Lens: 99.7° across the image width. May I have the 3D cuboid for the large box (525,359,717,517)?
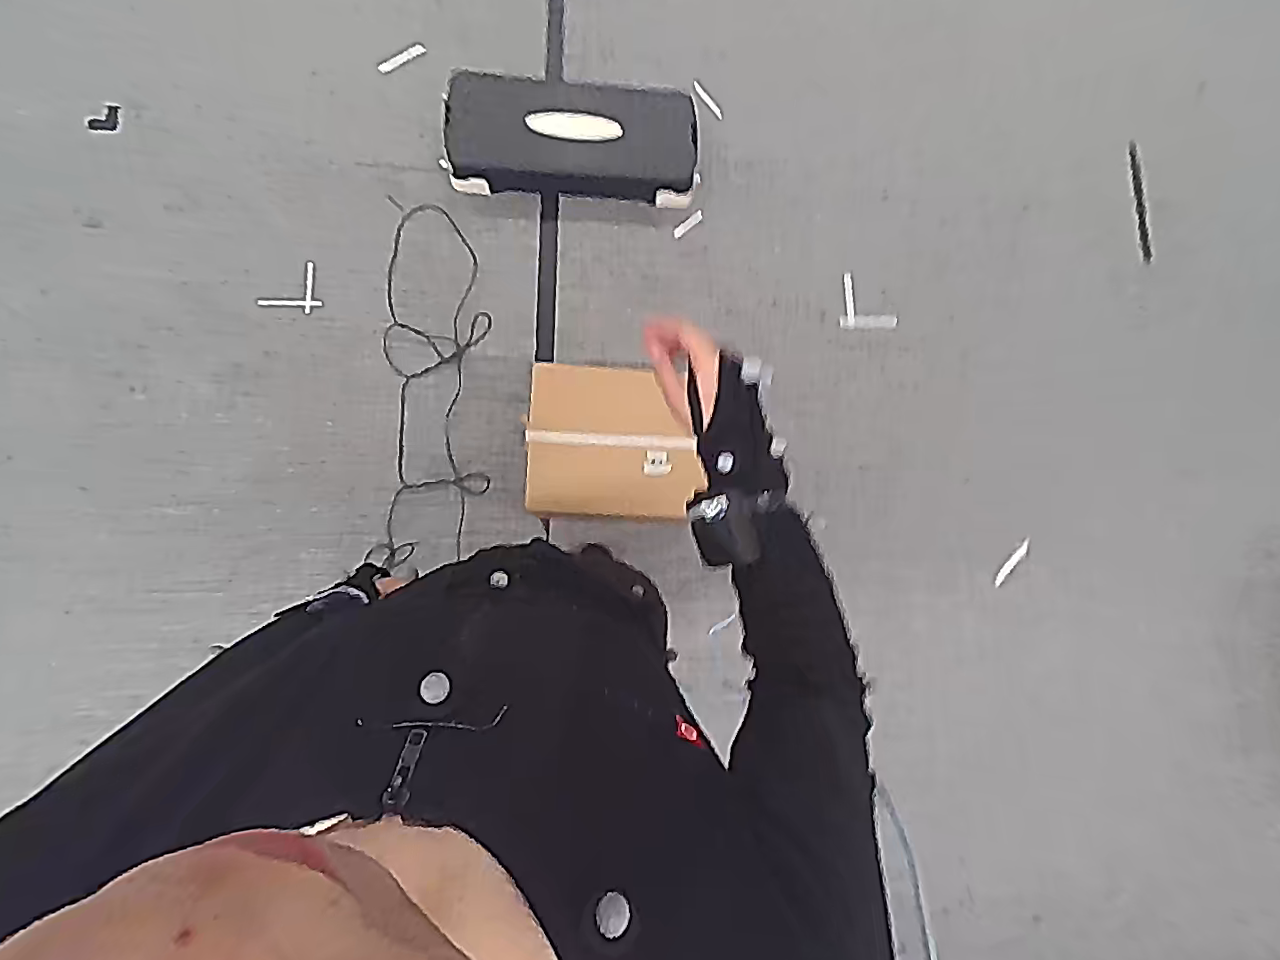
[{"bbox_3d":[-0.055,-0.076,1.268,0.408,0.320,0.320,2,84,-7],"label":"large box"}]
